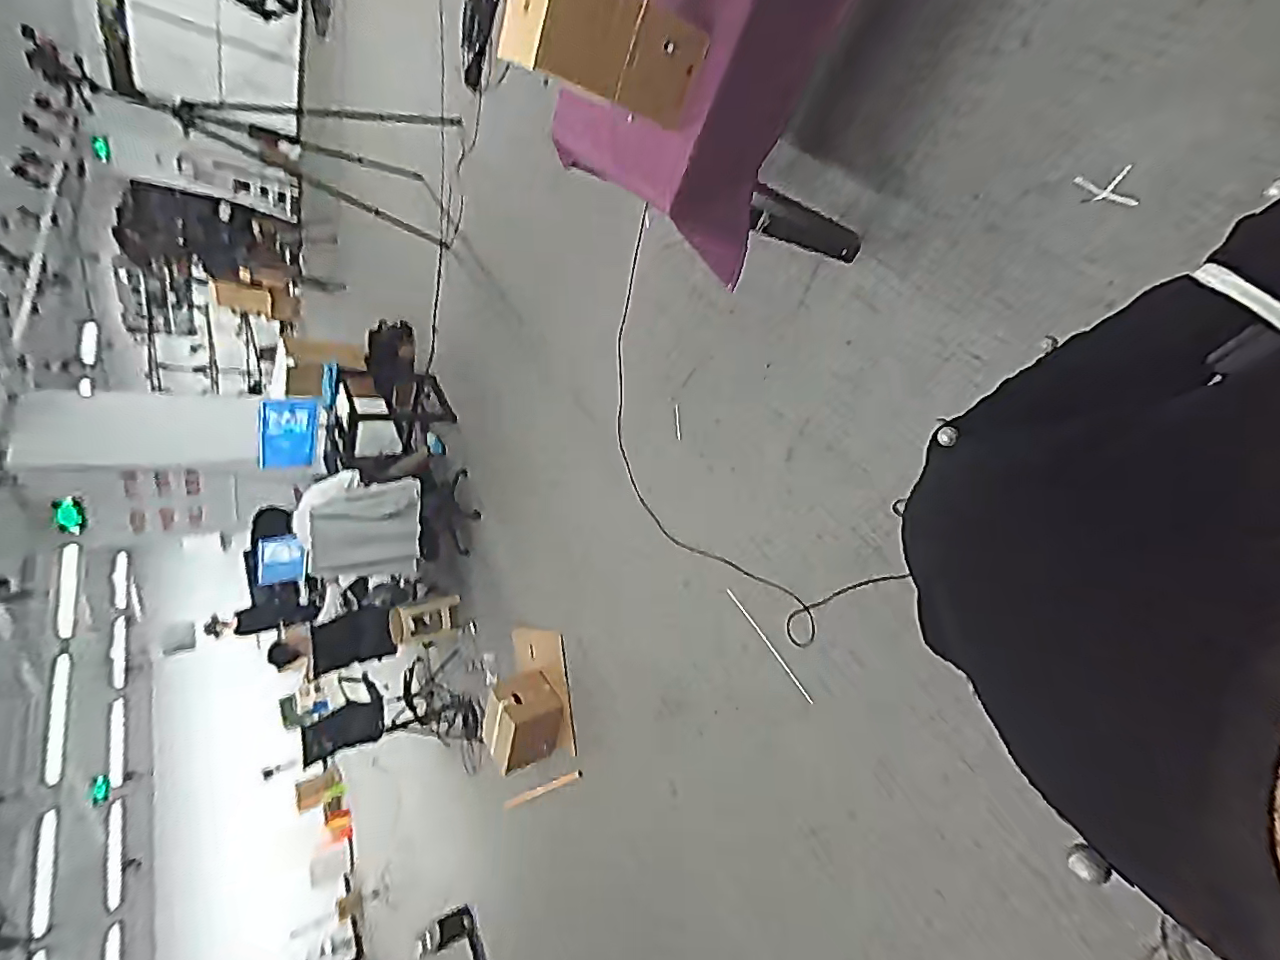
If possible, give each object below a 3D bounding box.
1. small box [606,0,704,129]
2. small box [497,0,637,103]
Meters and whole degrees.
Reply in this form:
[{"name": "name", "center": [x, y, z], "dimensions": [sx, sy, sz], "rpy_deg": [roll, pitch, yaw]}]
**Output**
[{"name": "small box", "center": [-0.004, -0.823, 1.065], "dimensions": [0.179, 0.176, 0.168], "rpy_deg": [51, 128, 35]}, {"name": "small box", "center": [-0.130, -0.811, 0.964], "dimensions": [0.168, 0.176, 0.179], "rpy_deg": [48, 126, 36]}]
